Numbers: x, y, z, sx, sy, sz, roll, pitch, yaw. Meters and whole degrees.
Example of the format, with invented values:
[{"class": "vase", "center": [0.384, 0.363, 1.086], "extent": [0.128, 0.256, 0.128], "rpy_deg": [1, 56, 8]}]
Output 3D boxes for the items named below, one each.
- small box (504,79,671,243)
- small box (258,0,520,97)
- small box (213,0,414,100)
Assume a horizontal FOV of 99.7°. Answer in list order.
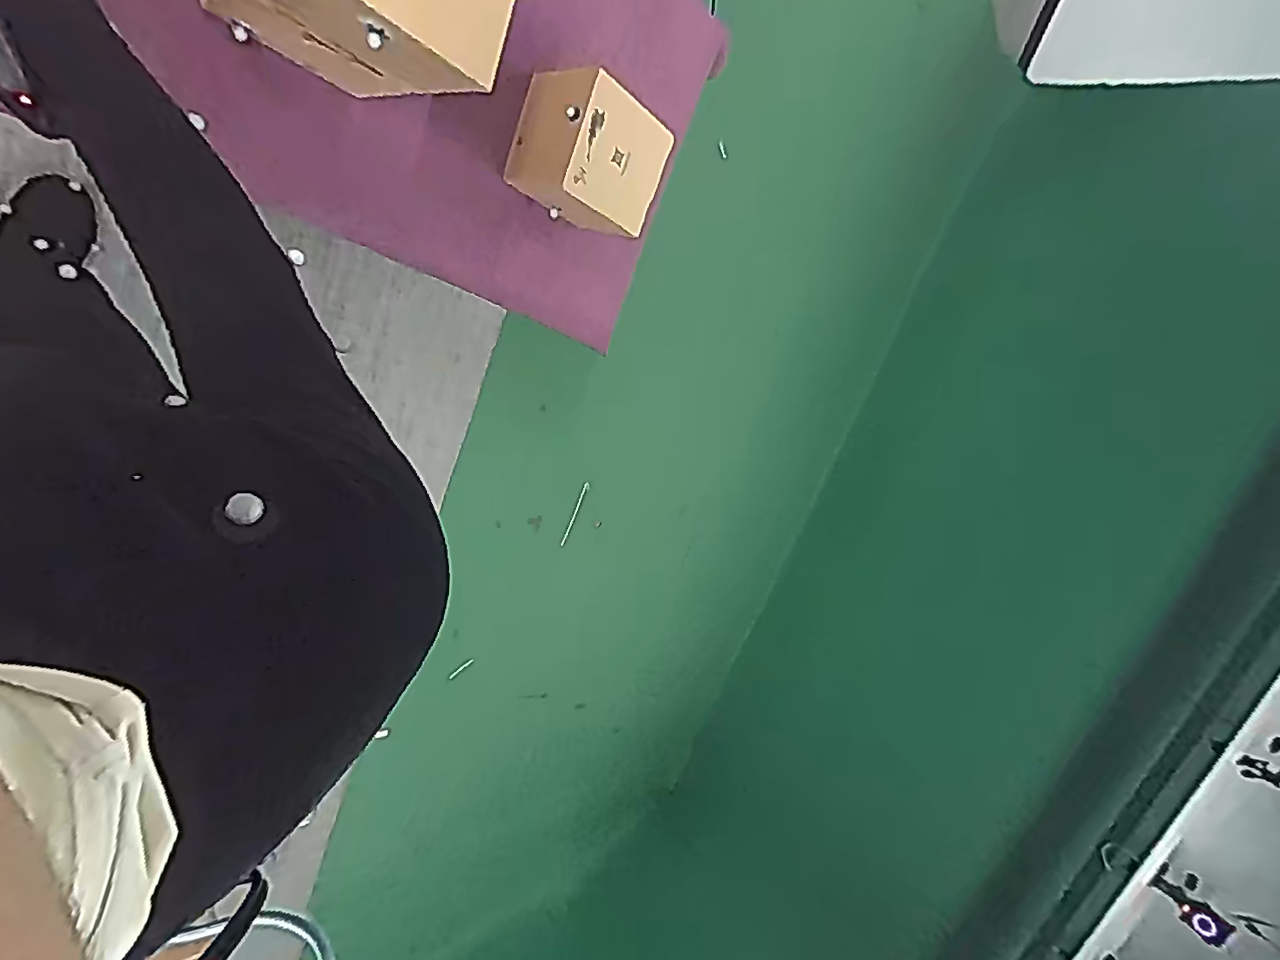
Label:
[{"class": "small box", "center": [-0.086, -0.513, 0.879], "extent": [0.179, 0.176, 0.168], "rpy_deg": [7, 108, -51]}, {"class": "small box", "center": [-0.223, -0.472, 0.480], "extent": [0.179, 0.176, 0.168], "rpy_deg": [5, 111, -51]}, {"class": "small box", "center": [-0.334, -0.541, 0.577], "extent": [0.168, 0.176, 0.179], "rpy_deg": [5, 109, -50]}]
